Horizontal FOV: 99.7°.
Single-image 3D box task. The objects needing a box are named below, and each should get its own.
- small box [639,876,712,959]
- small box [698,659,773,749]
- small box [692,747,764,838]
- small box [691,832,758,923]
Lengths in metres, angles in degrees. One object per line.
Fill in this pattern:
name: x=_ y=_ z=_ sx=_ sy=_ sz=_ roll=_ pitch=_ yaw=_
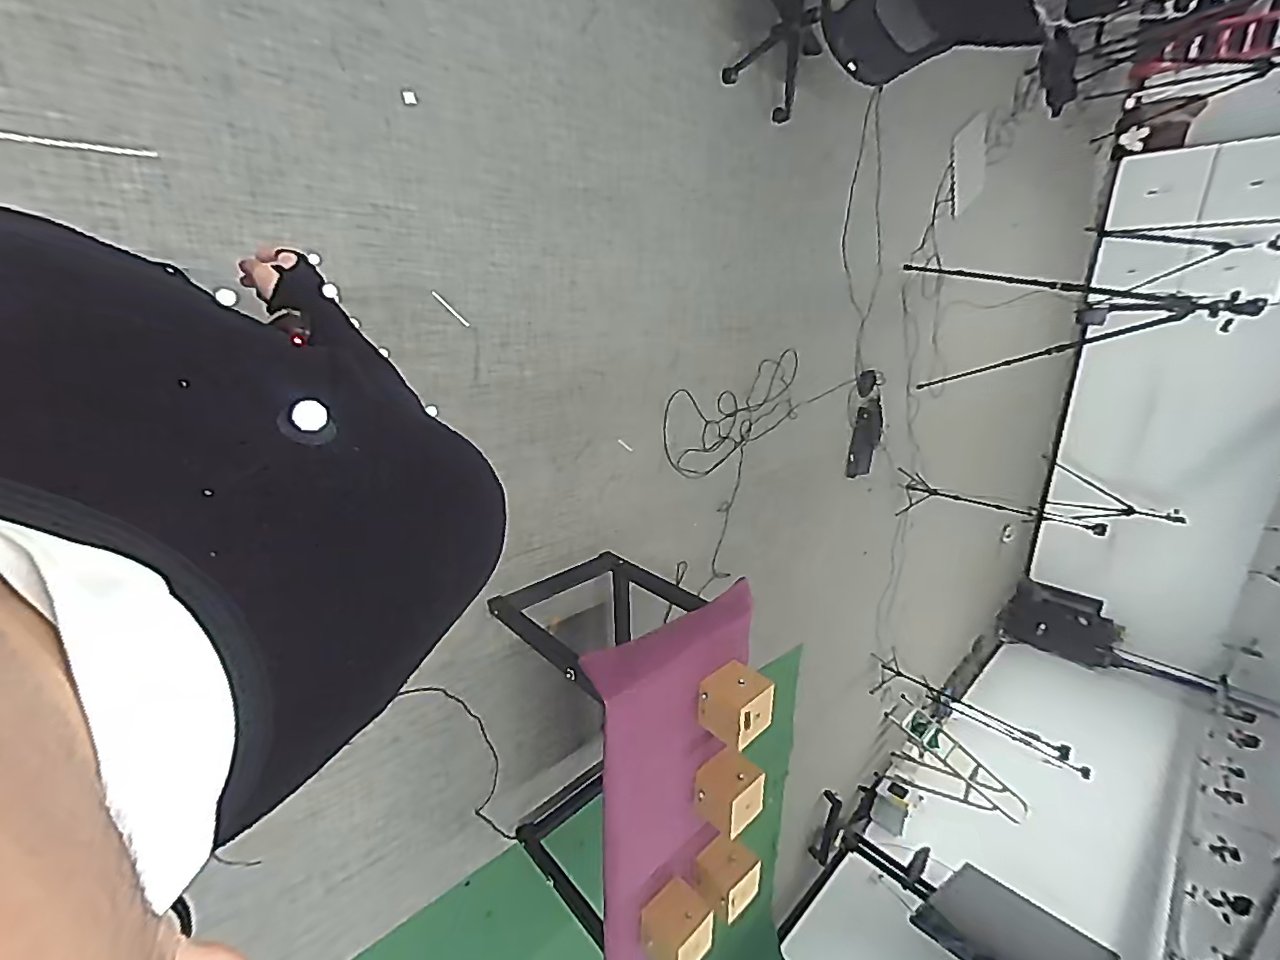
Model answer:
small box: x=0.117 y=1.484 z=1.799 sx=0.179 sy=0.176 sz=0.168 roll=-14 pitch=112 yaw=-42
small box: x=0.302 y=0.711 z=1.733 sx=0.179 sy=0.176 sz=0.168 roll=-17 pitch=115 yaw=-40
small box: x=0.298 y=1.053 z=1.842 sx=0.179 sy=0.176 sz=0.168 roll=-14 pitch=112 yaw=-40
small box: x=0.309 y=1.434 z=1.972 sx=0.179 sy=0.176 sz=0.168 roll=-16 pitch=113 yaw=-40
